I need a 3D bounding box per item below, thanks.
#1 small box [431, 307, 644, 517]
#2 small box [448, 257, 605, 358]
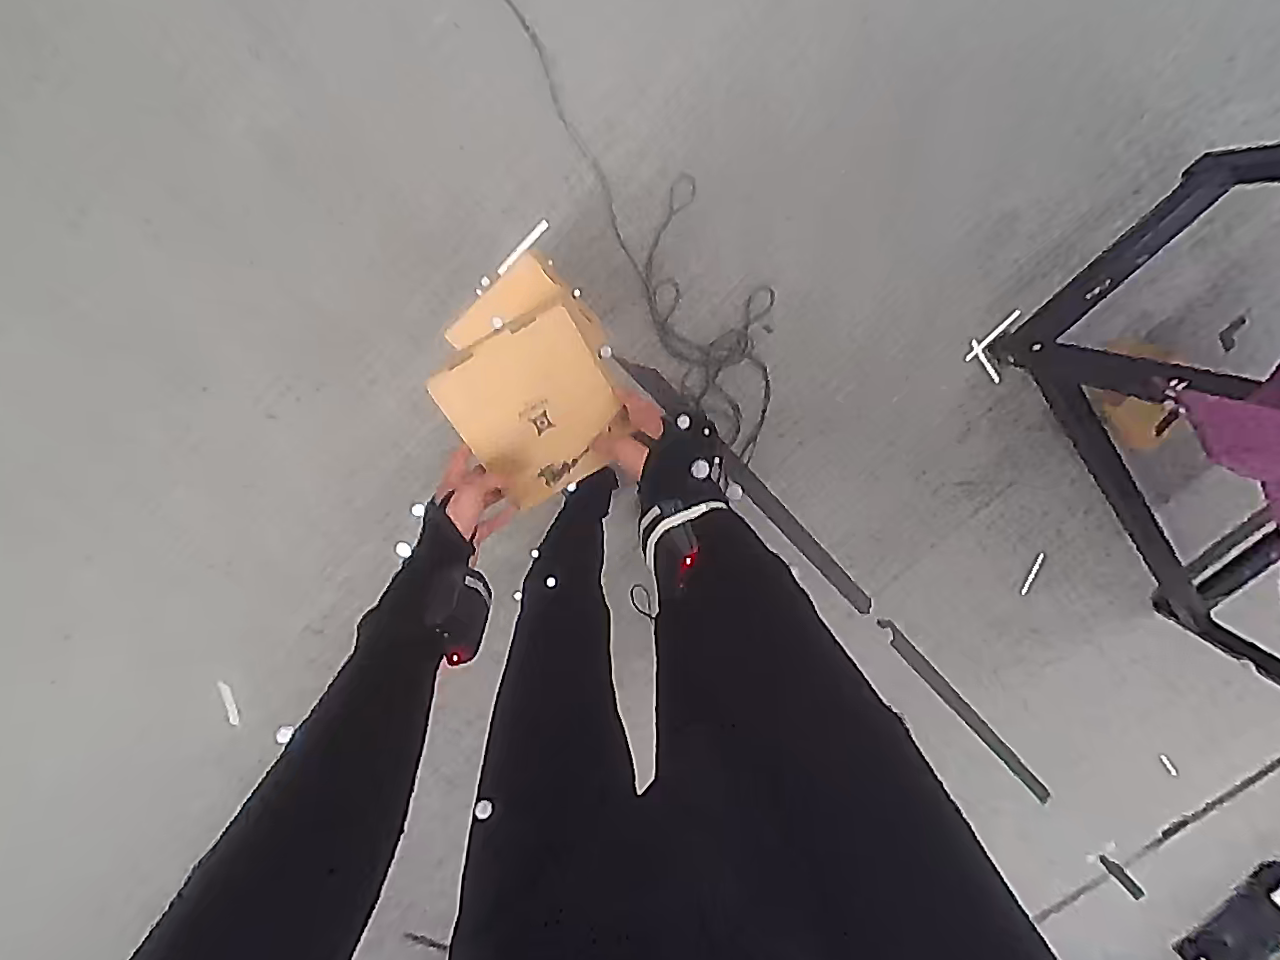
[{"bbox_3d":[-0.114,-0.092,0.647,0.168,0.176,0.179,-28,113,5],"label":"small box"},{"bbox_3d":[-0.176,-0.236,0.877,0.179,0.176,0.168,-41,112,9],"label":"small box"}]
